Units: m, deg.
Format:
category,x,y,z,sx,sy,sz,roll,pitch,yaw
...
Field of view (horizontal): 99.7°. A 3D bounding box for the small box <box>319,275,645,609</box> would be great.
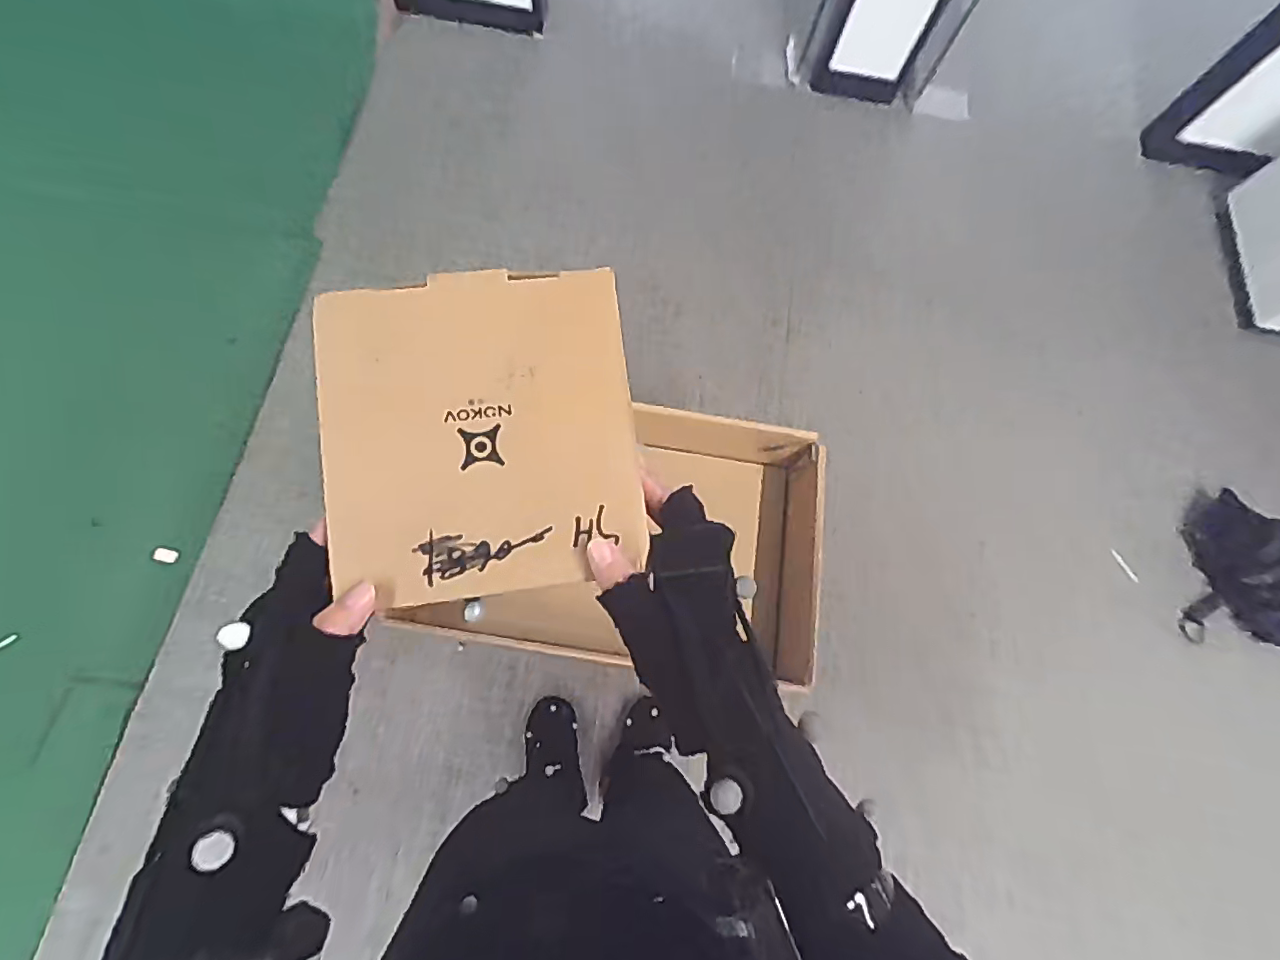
category,x,y,z,sx,sy,sz,roll,pitch,yaw
small box,-0.094,-0.013,0.375,0.168,0.176,0.179,-8,81,-4
